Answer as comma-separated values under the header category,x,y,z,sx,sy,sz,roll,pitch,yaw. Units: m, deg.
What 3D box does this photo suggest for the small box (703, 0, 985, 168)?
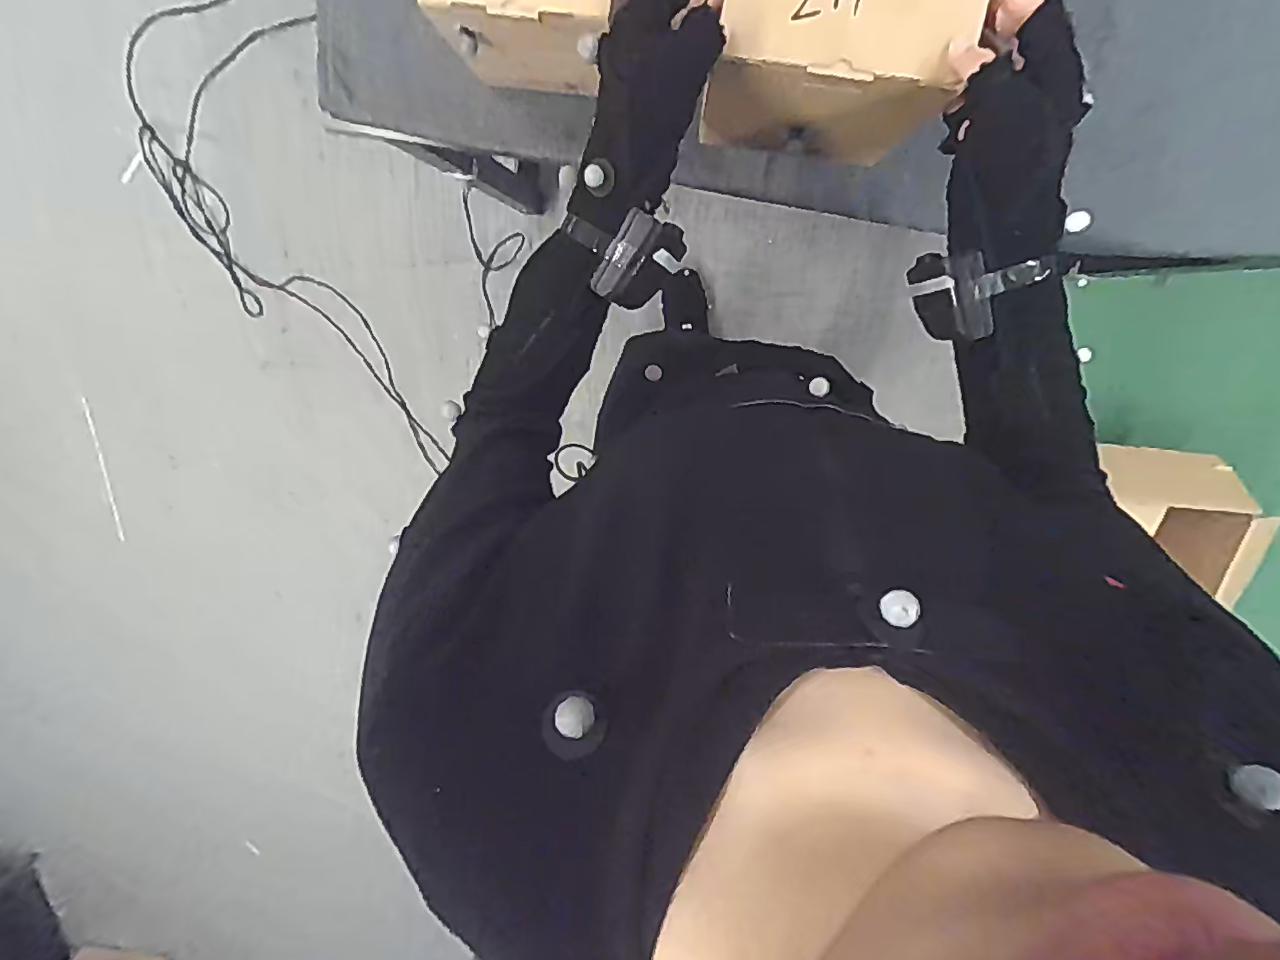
category,x,y,z,sx,sy,sz,roll,pitch,yaw
small box,0.145,-0.367,0.411,0.168,0.176,0.179,8,106,0
